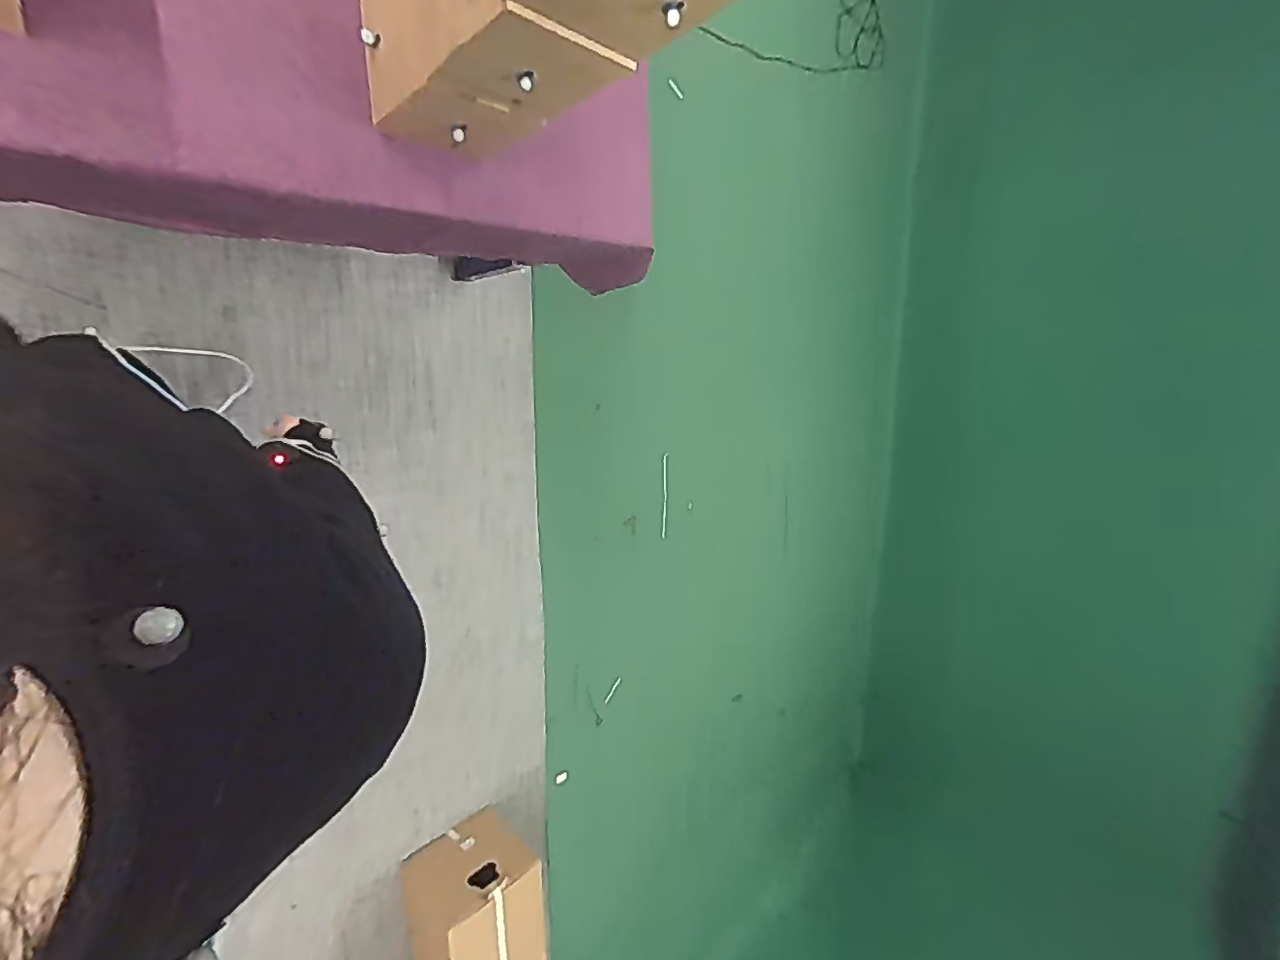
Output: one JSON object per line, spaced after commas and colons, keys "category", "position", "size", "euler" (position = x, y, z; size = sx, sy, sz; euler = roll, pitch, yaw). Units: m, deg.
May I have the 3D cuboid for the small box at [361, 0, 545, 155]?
{"category": "small box", "position": [-0.240, -0.547, 0.695], "size": [0.168, 0.176, 0.179], "euler": [-13, 108, -44]}

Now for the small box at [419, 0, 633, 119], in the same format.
{"category": "small box", "position": [-0.124, -0.524, 0.579], "size": [0.168, 0.176, 0.179], "euler": [-14, 107, -44]}

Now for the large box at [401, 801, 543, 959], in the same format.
{"category": "large box", "position": [-0.537, 1.363, 1.744], "size": [0.320, 0.320, 0.408], "euler": [-13, 109, -45]}

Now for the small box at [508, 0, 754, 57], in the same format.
{"category": "small box", "position": [-0.011, -0.506, 0.463], "size": [0.179, 0.176, 0.168], "euler": [-14, 106, -43]}
